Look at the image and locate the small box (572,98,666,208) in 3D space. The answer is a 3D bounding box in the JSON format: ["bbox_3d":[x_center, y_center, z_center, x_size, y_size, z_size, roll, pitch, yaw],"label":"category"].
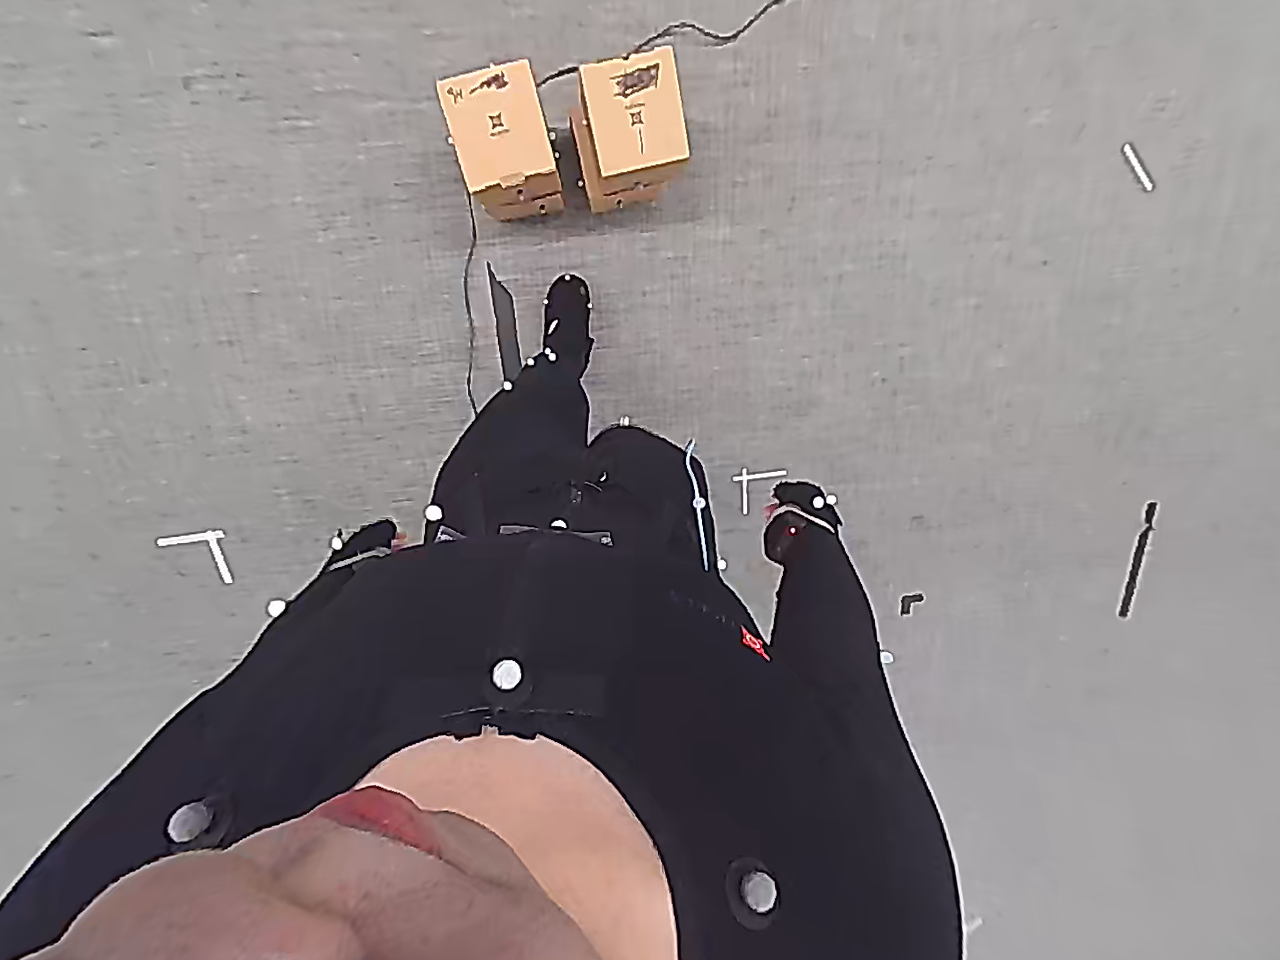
[{"bbox_3d":[-0.048,-0.716,1.177,0.168,0.176,0.179,-14,109,0],"label":"small box"}]

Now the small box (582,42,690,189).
[{"bbox_3d":[-0.011,-0.674,1.021,0.168,0.176,0.179,-13,110,0],"label":"small box"}]

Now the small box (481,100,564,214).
[{"bbox_3d":[-0.264,-0.688,1.171,0.168,0.176,0.179,-11,108,-1],"label":"small box"}]

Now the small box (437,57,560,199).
[{"bbox_3d":[-0.252,-0.642,1.013,0.168,0.176,0.179,-14,109,0],"label":"small box"}]

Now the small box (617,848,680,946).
[{"bbox_3d":[0.023,1.243,1.628,0.168,0.176,0.179,-7,109,-2],"label":"small box"}]
